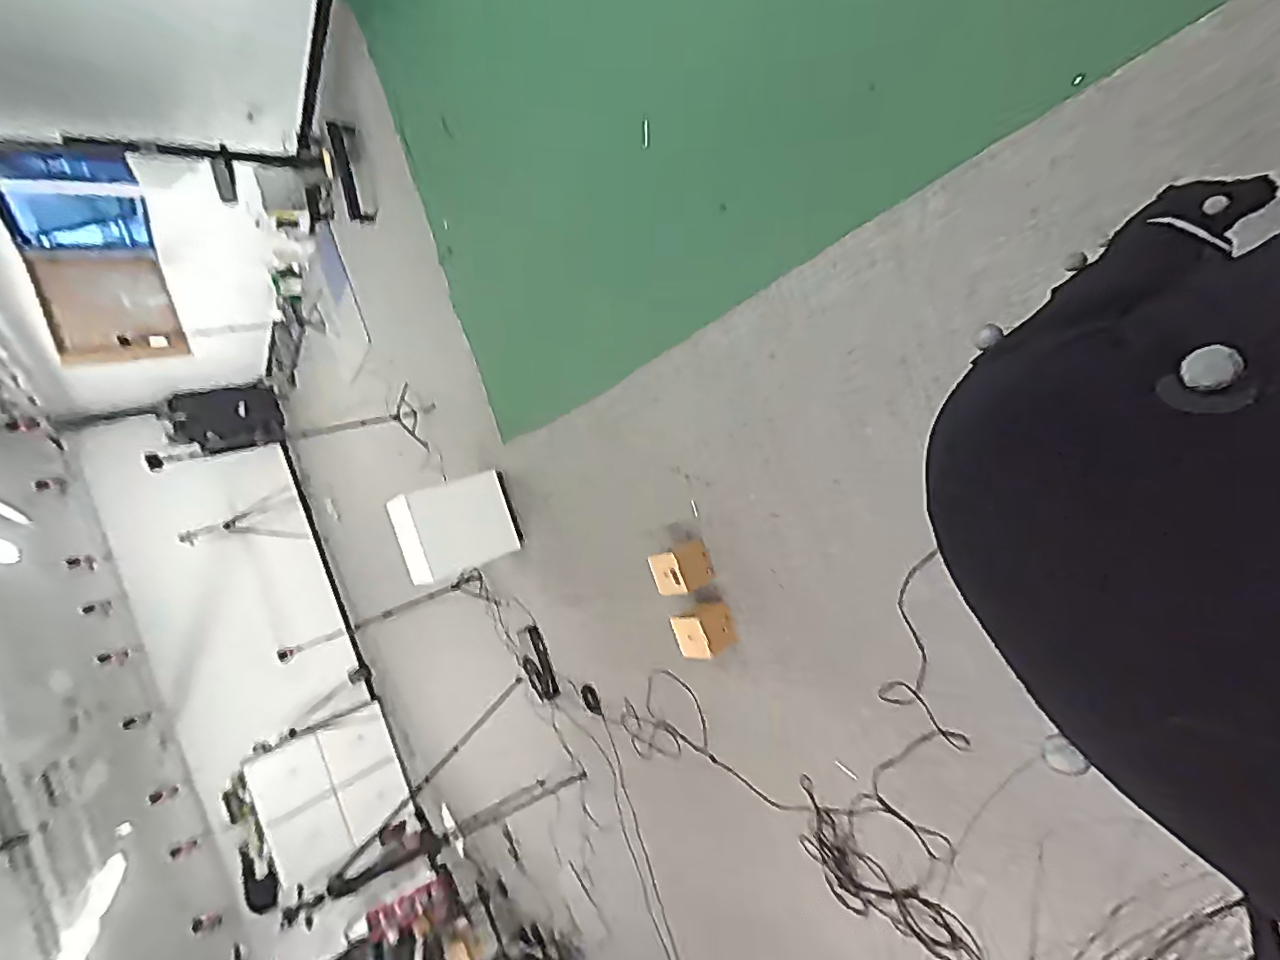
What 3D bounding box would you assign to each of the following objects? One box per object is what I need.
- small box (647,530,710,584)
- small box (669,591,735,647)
[{"bbox_3d":[0.164,0.311,2.197,0.179,0.176,0.168,-19,90,52],"label":"small box"},{"bbox_3d":[0.254,0.561,2.195,0.179,0.176,0.168,-18,91,51],"label":"small box"}]
